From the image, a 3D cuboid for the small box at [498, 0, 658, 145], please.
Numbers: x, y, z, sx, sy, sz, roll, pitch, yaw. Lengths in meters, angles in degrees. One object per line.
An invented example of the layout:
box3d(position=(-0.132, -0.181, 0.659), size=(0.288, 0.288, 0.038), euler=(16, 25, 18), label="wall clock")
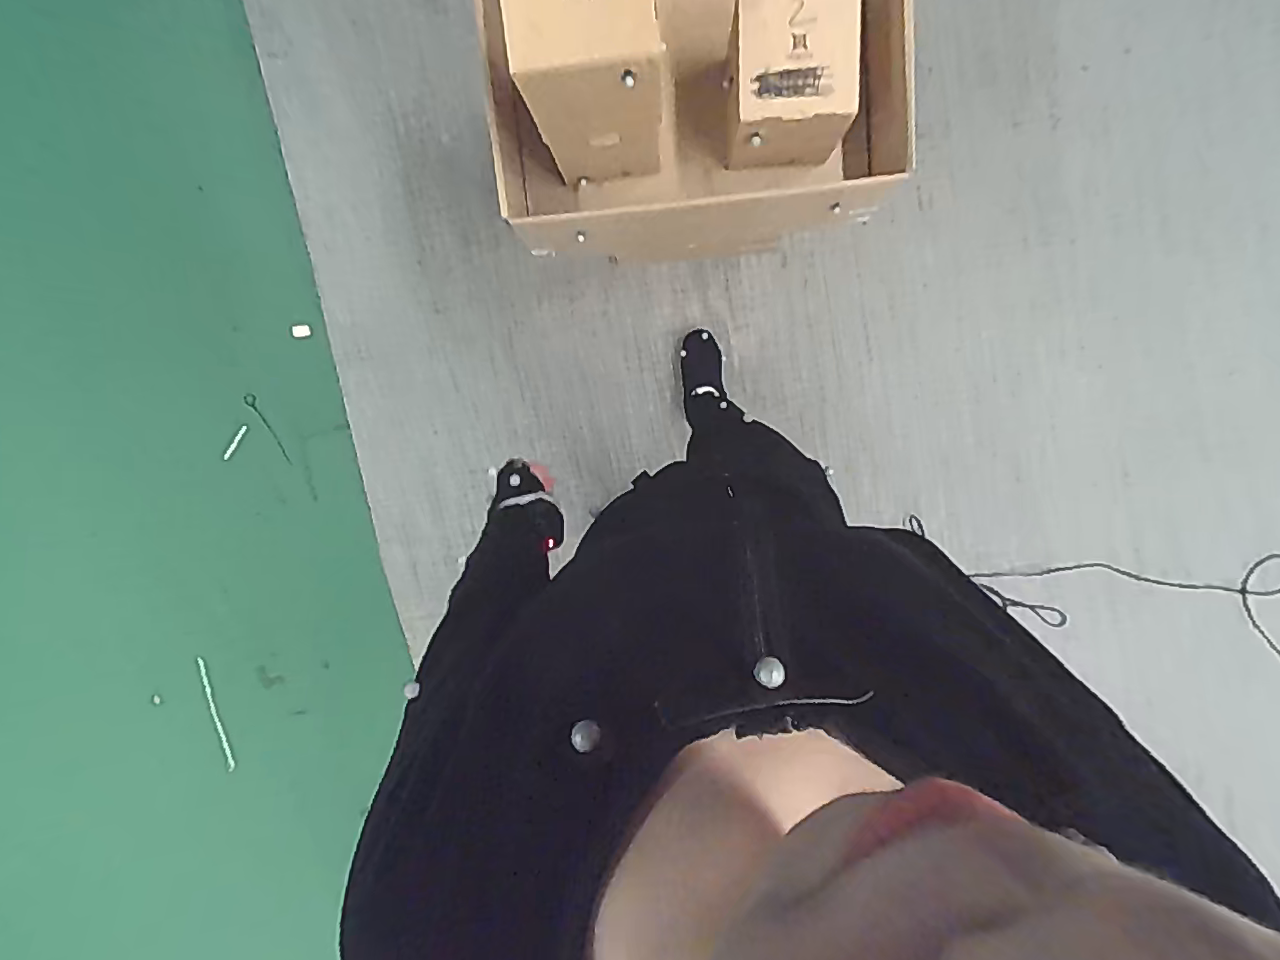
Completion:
box3d(position=(-0.071, -0.553, 0.683), size=(0.179, 0.176, 0.168), euler=(-6, 98, 2), label="small box")
